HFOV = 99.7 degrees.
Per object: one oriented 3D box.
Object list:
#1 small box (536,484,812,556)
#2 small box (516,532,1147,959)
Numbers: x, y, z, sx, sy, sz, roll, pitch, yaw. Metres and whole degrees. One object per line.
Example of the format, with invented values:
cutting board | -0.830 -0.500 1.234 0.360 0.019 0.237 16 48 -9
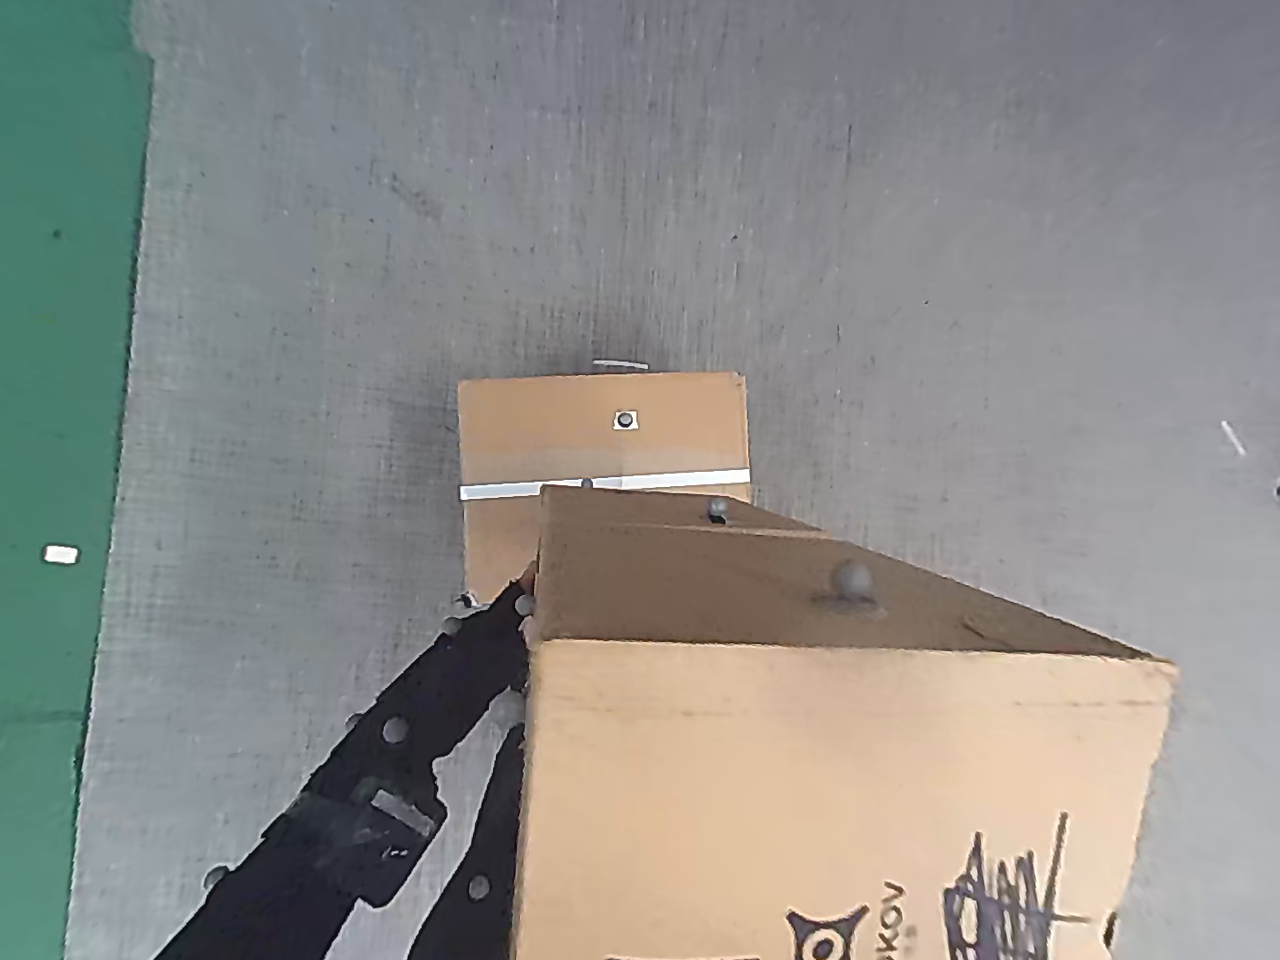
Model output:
small box | 0.009 0.102 0.384 0.168 0.176 0.179 3 95 -9
small box | 0.041 0.116 0.222 0.179 0.176 0.168 1 95 -11
